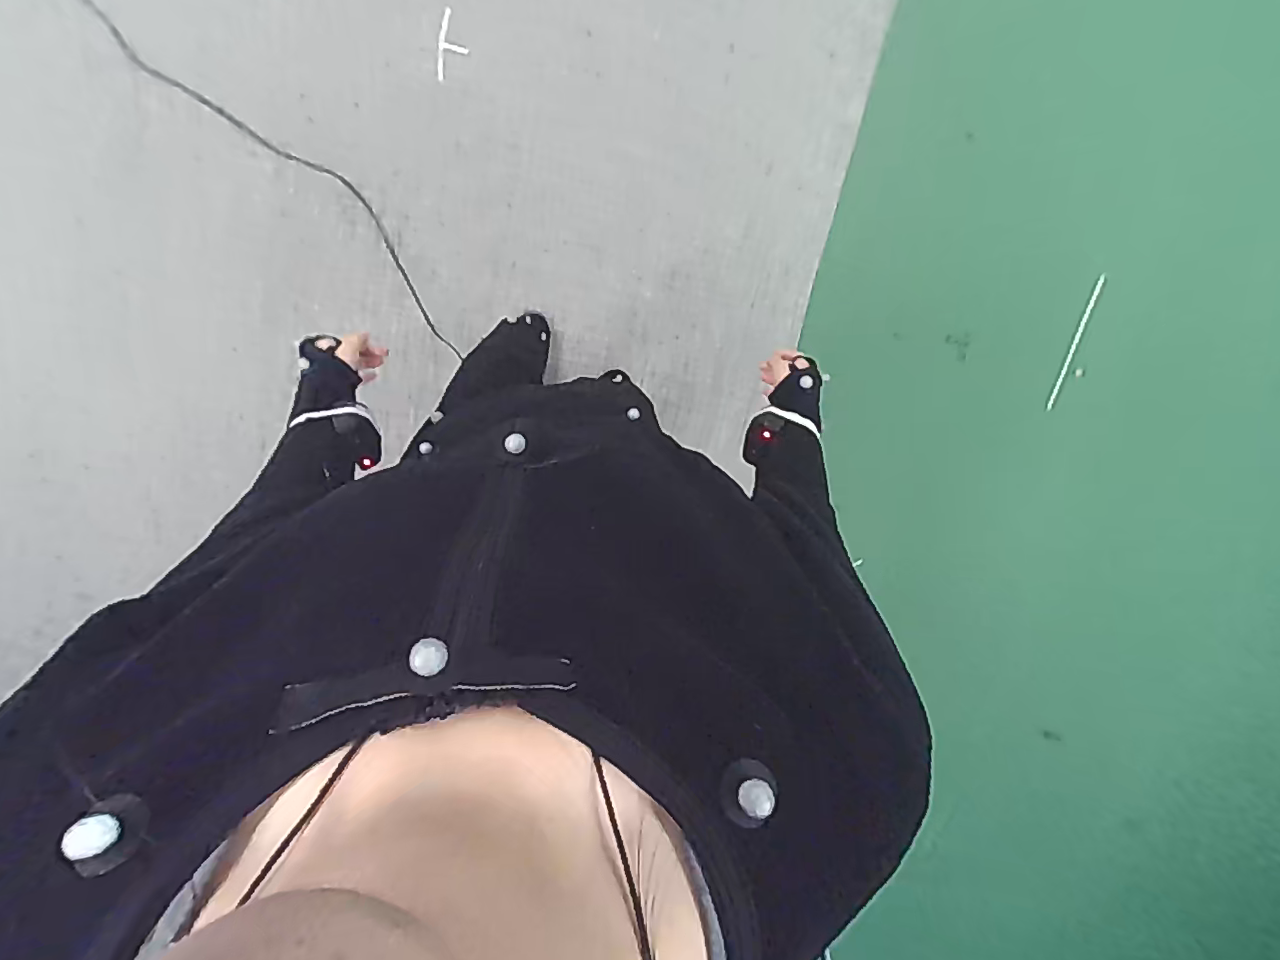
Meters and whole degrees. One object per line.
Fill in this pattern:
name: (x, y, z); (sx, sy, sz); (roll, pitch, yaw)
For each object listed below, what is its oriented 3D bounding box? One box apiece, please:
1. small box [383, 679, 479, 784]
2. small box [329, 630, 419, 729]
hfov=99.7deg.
small box: (-0.518, 0.623, 1.356); (0.179, 0.176, 0.168); (10, 104, -7)
small box: (-0.726, 0.545, 1.490); (0.168, 0.176, 0.179); (14, 103, -9)
